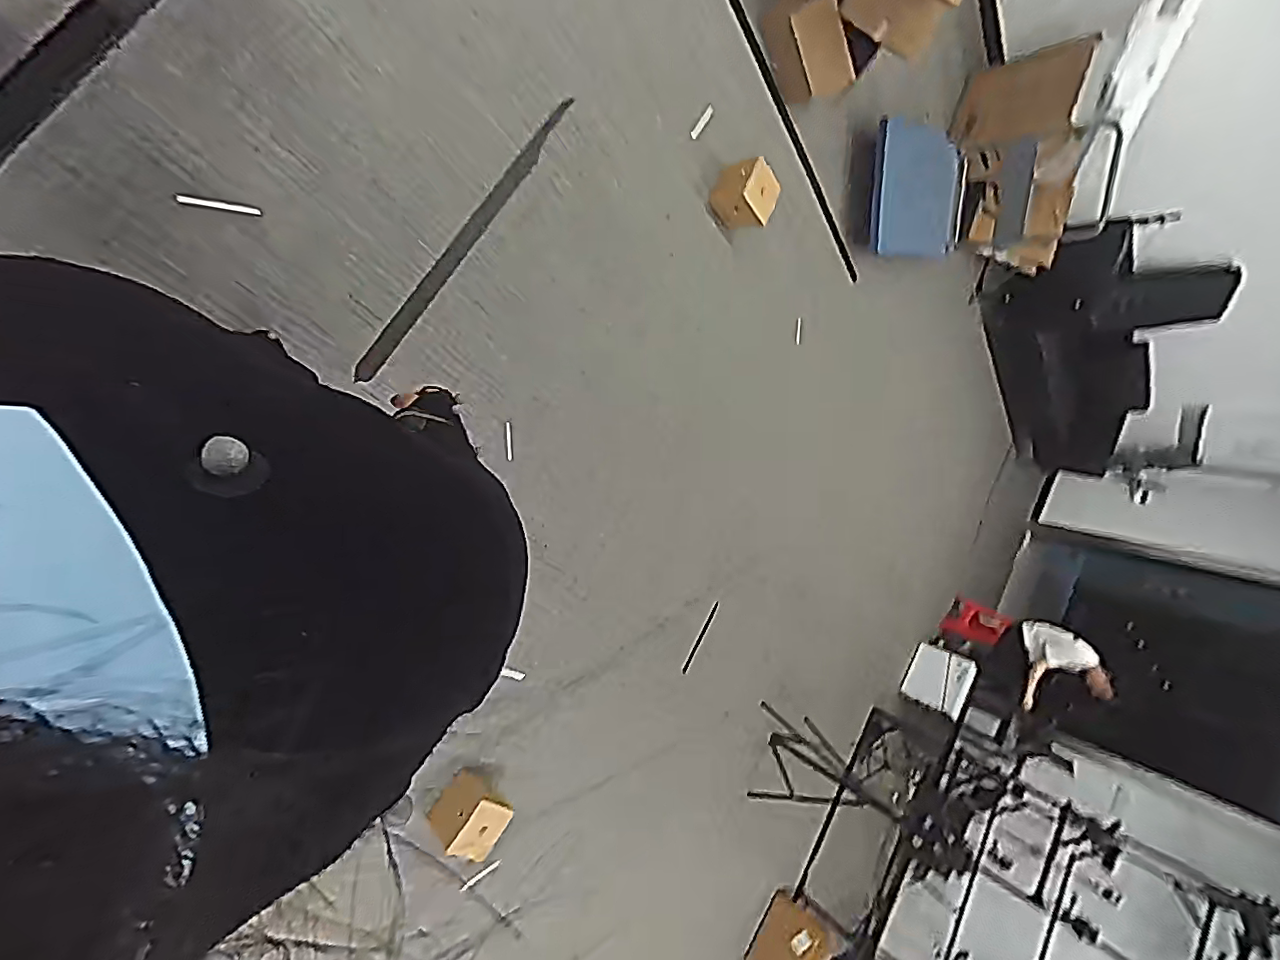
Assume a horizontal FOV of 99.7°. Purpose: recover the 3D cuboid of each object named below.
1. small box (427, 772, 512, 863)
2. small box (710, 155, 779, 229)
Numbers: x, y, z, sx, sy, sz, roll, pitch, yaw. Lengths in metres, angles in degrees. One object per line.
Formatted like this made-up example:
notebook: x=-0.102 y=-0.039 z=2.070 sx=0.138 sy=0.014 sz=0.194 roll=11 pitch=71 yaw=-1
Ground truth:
small box: x=-0.562 y=1.097 z=1.768 sx=0.179 sy=0.176 sz=0.168 roll=-53 pitch=129 yaw=-18
small box: x=0.390 y=-1.083 z=2.052 sx=0.168 sy=0.176 sz=0.179 roll=31 pitch=79 yaw=-42
